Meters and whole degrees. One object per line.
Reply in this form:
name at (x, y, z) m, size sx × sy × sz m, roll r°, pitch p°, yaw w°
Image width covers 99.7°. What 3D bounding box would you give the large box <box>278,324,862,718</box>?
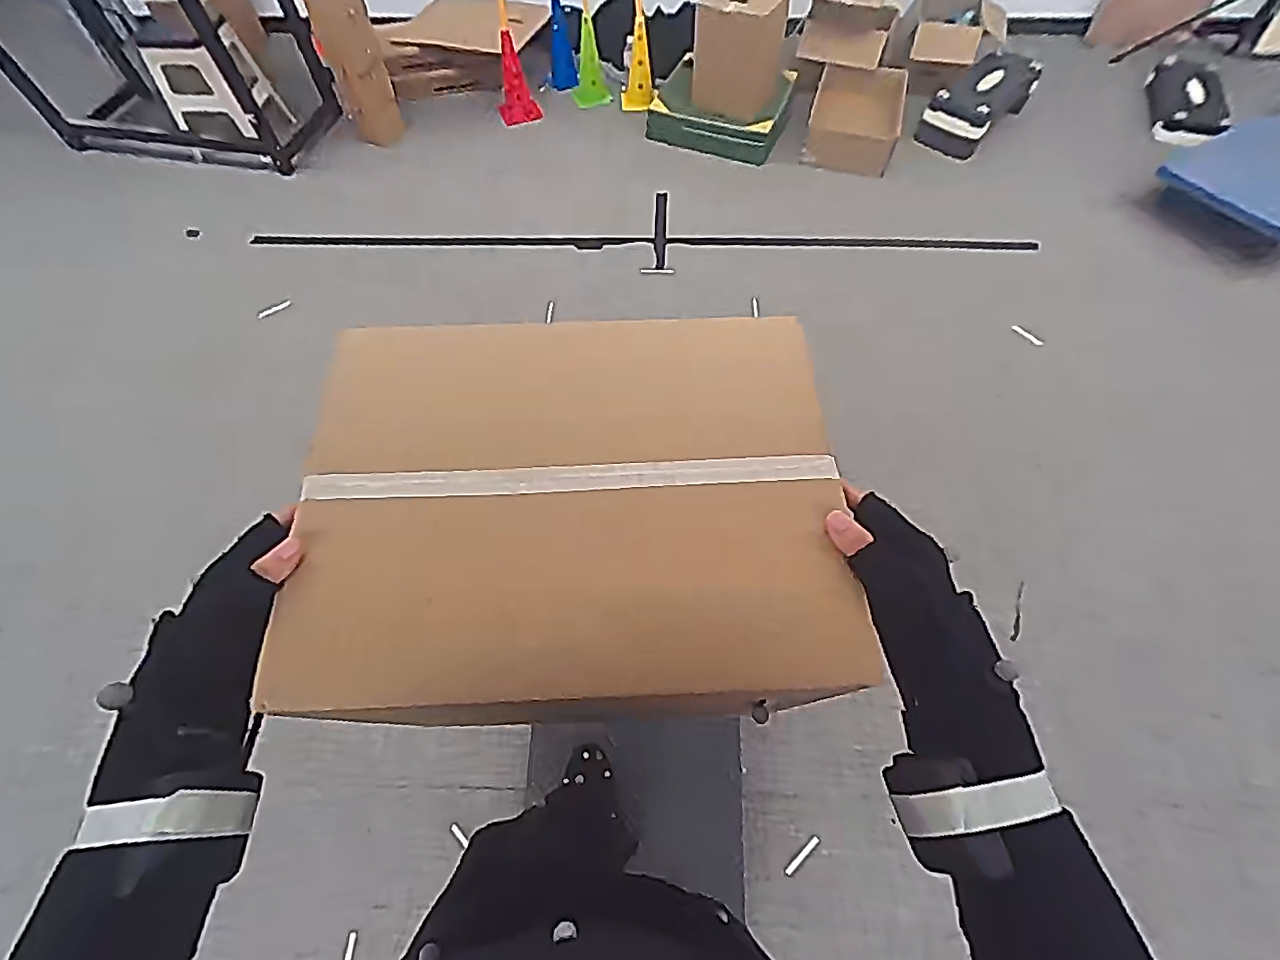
large box at (-0.050, 0.067, 0.561) m, size 0.408 × 0.320 × 0.320 m, roll -2°, pitch 64°, yaw -1°
